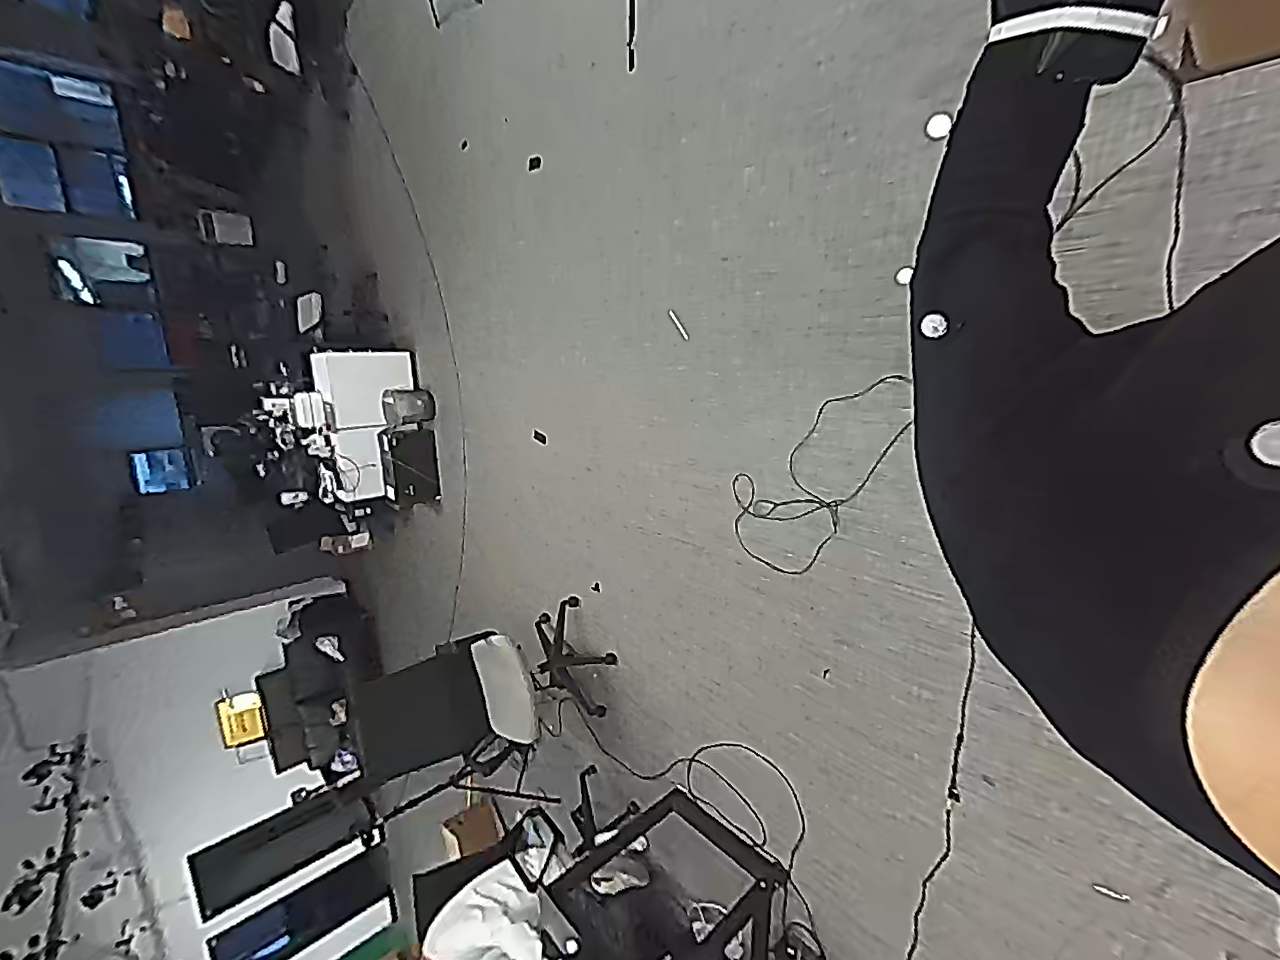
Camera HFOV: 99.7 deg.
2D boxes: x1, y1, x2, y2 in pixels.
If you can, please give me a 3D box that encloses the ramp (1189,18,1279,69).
[{"bbox_3d":[1.099,-1.179,0.657,0.509,0.206,0.991,10,107,46],"label":"ramp"}]
